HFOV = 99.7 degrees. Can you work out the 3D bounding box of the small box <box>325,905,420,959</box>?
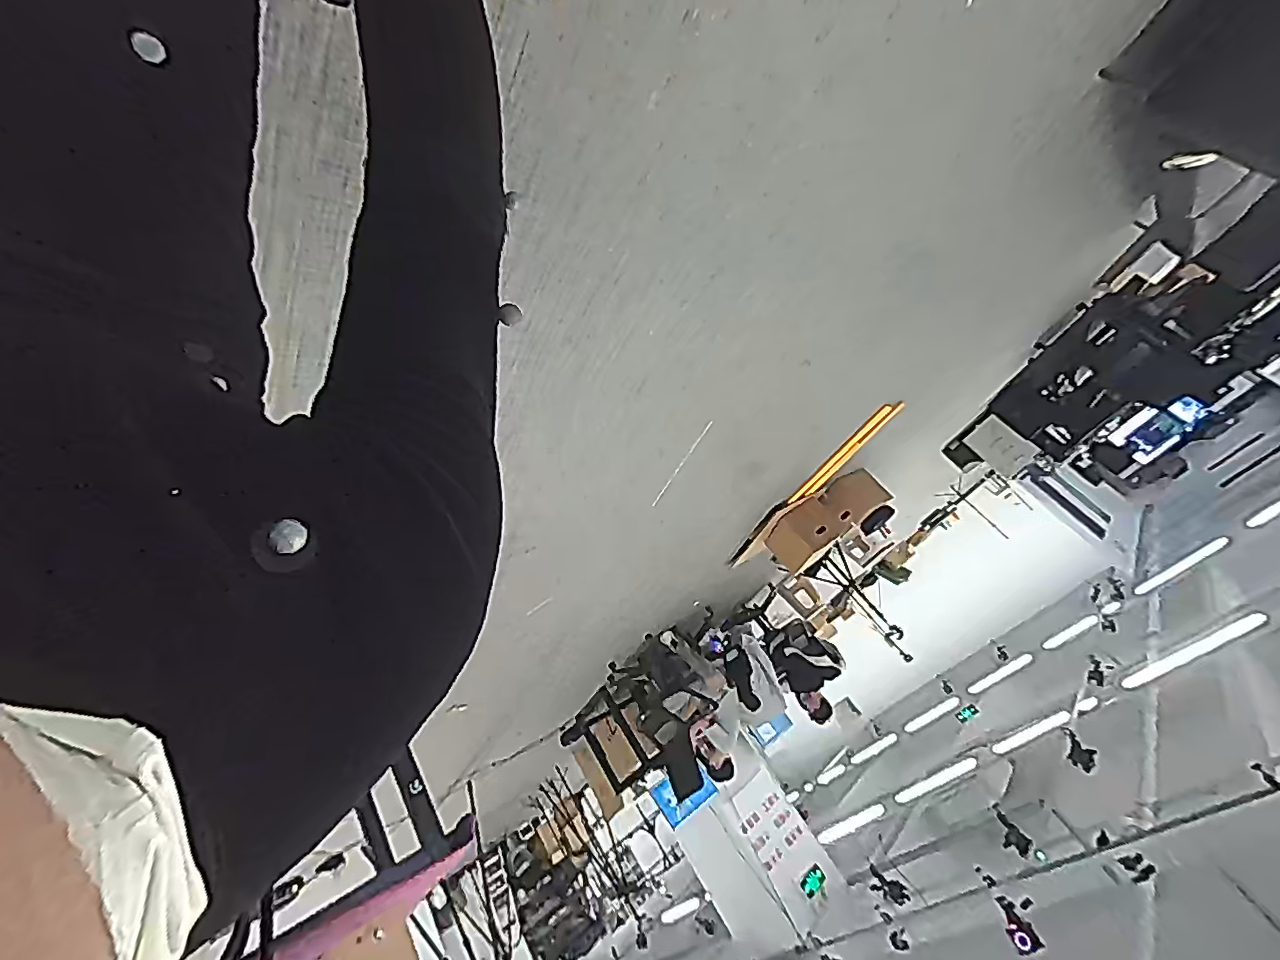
[{"bbox_3d":[-0.649,1.184,1.314,0.168,0.176,0.179,-10,143,-45],"label":"small box"}]
